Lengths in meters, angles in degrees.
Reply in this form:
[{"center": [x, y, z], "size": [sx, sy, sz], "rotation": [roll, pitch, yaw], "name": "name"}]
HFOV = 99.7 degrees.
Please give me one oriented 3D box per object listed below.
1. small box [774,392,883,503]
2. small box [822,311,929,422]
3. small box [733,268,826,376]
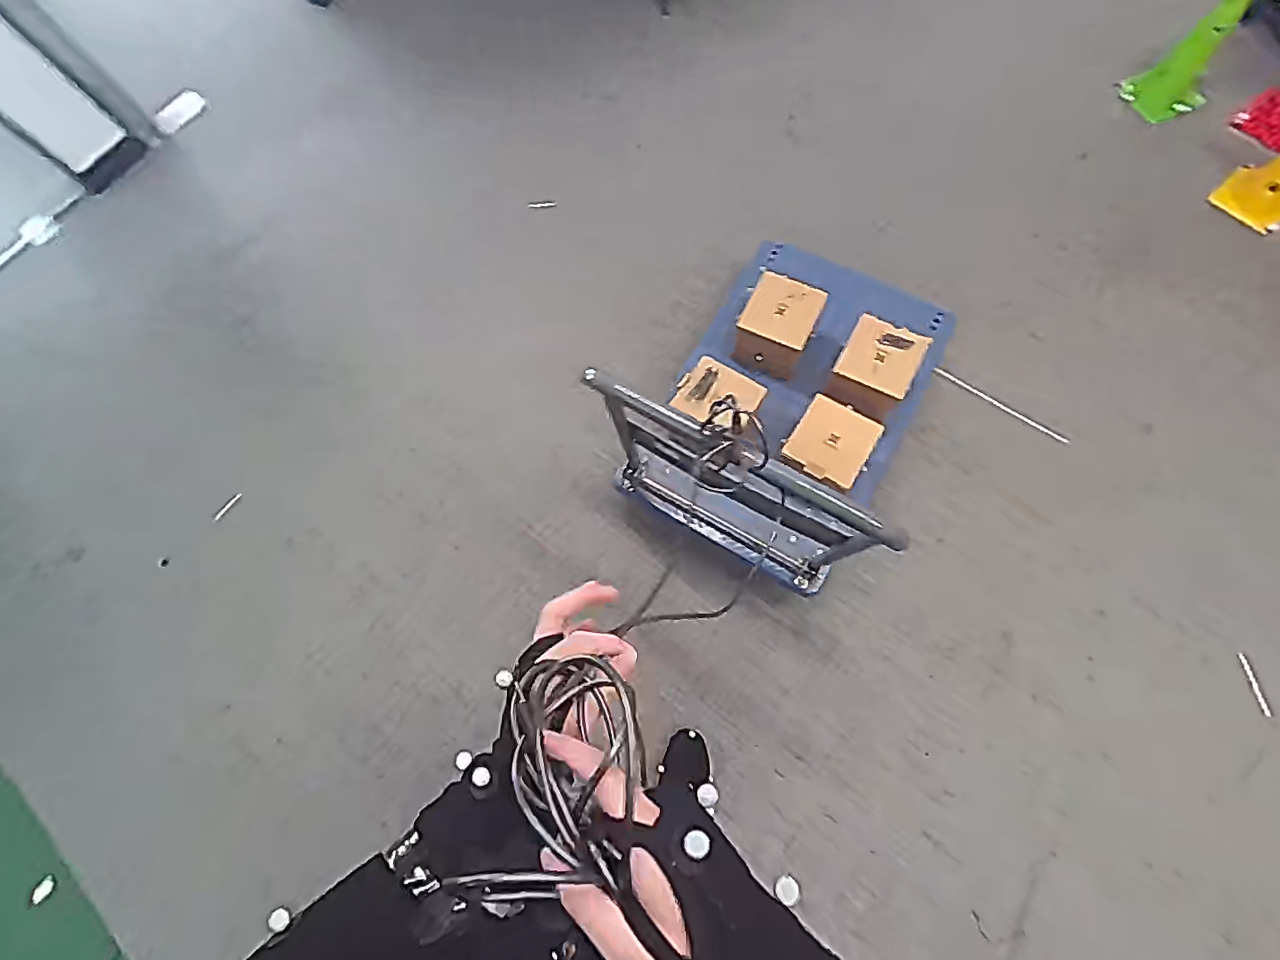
[{"center": [0.433, -0.070, 1.273], "size": [0.168, 0.176, 0.179], "rotation": [31, 80, 13], "name": "small box"}, {"center": [0.564, -0.270, 1.319], "size": [0.168, 0.176, 0.179], "rotation": [27, 78, 13], "name": "small box"}, {"center": [0.346, -0.393, 1.377], "size": [0.168, 0.176, 0.179], "rotation": [26, 77, 11], "name": "small box"}]
